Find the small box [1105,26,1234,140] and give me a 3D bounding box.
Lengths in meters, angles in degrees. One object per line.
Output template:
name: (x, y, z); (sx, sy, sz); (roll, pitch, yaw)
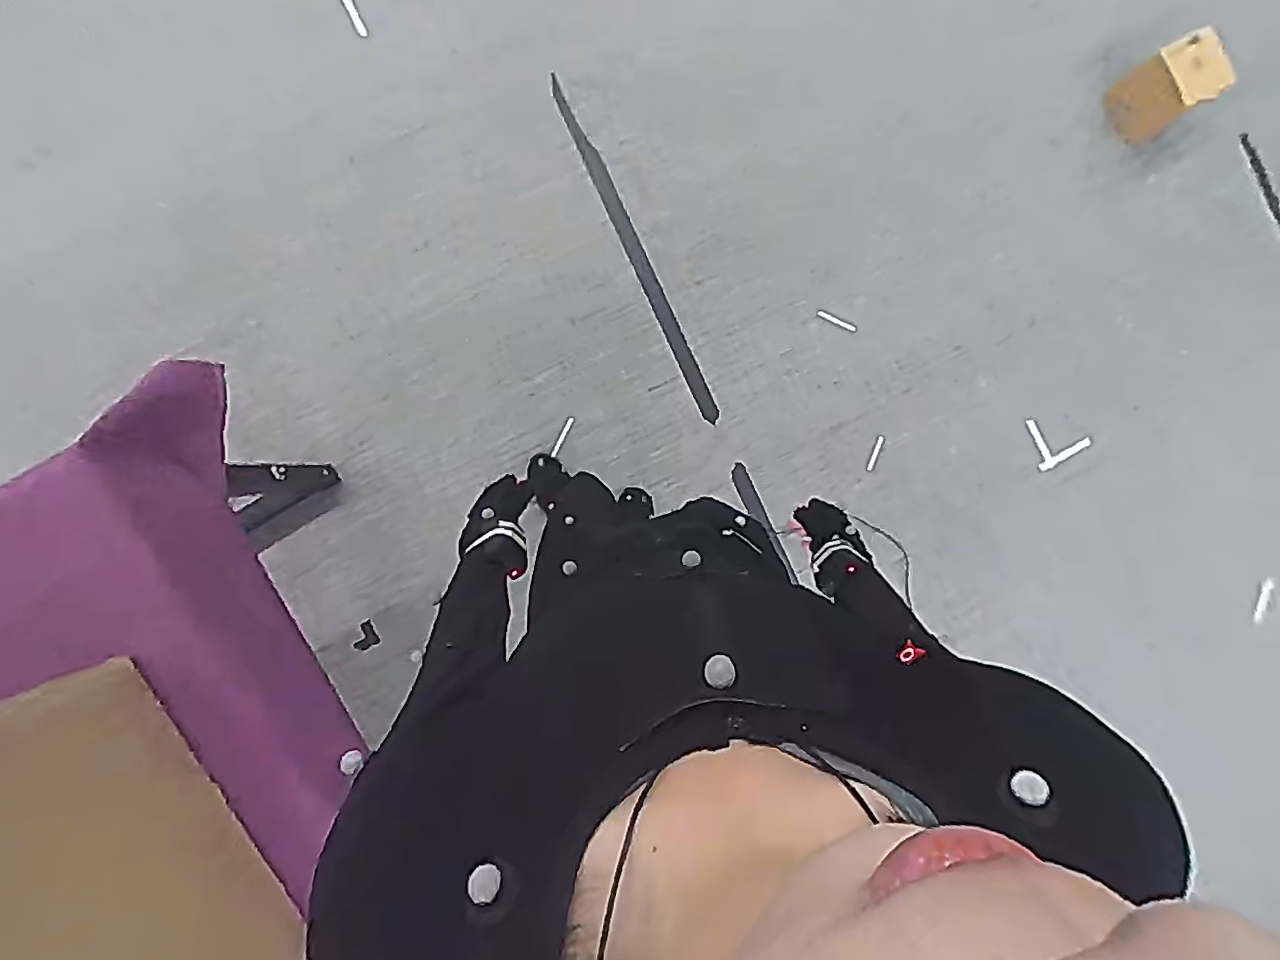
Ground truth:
small box: (1.483, -1.103, 1.524); (0.168, 0.176, 0.179); (-28, 93, -3)
